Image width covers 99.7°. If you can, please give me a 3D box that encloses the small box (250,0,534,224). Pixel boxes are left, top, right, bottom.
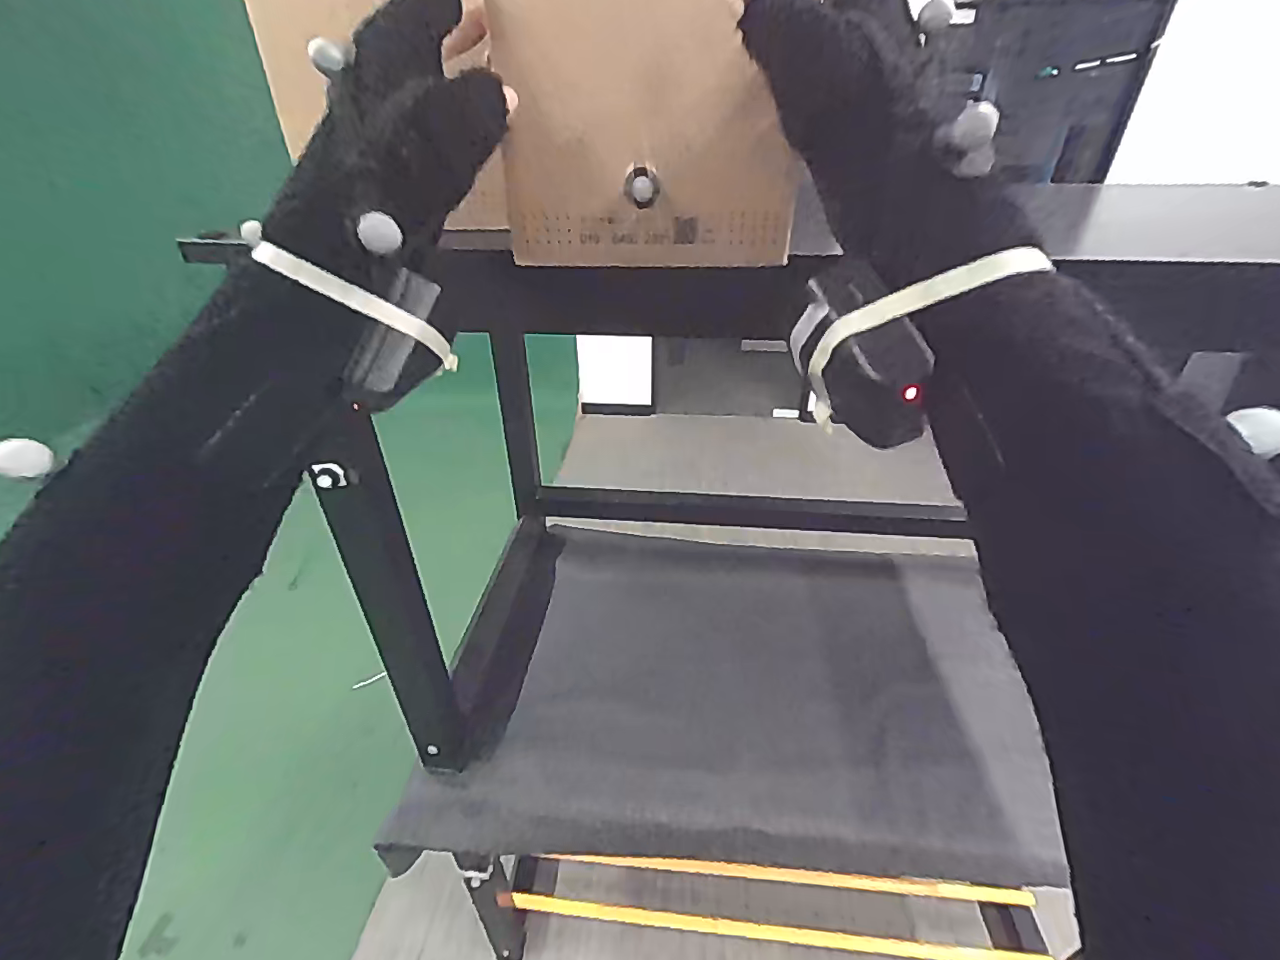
[{"bbox_3d":[-0.193,-0.330,0.484,0.168,0.176,0.179,0,32,-1],"label":"small box"}]
